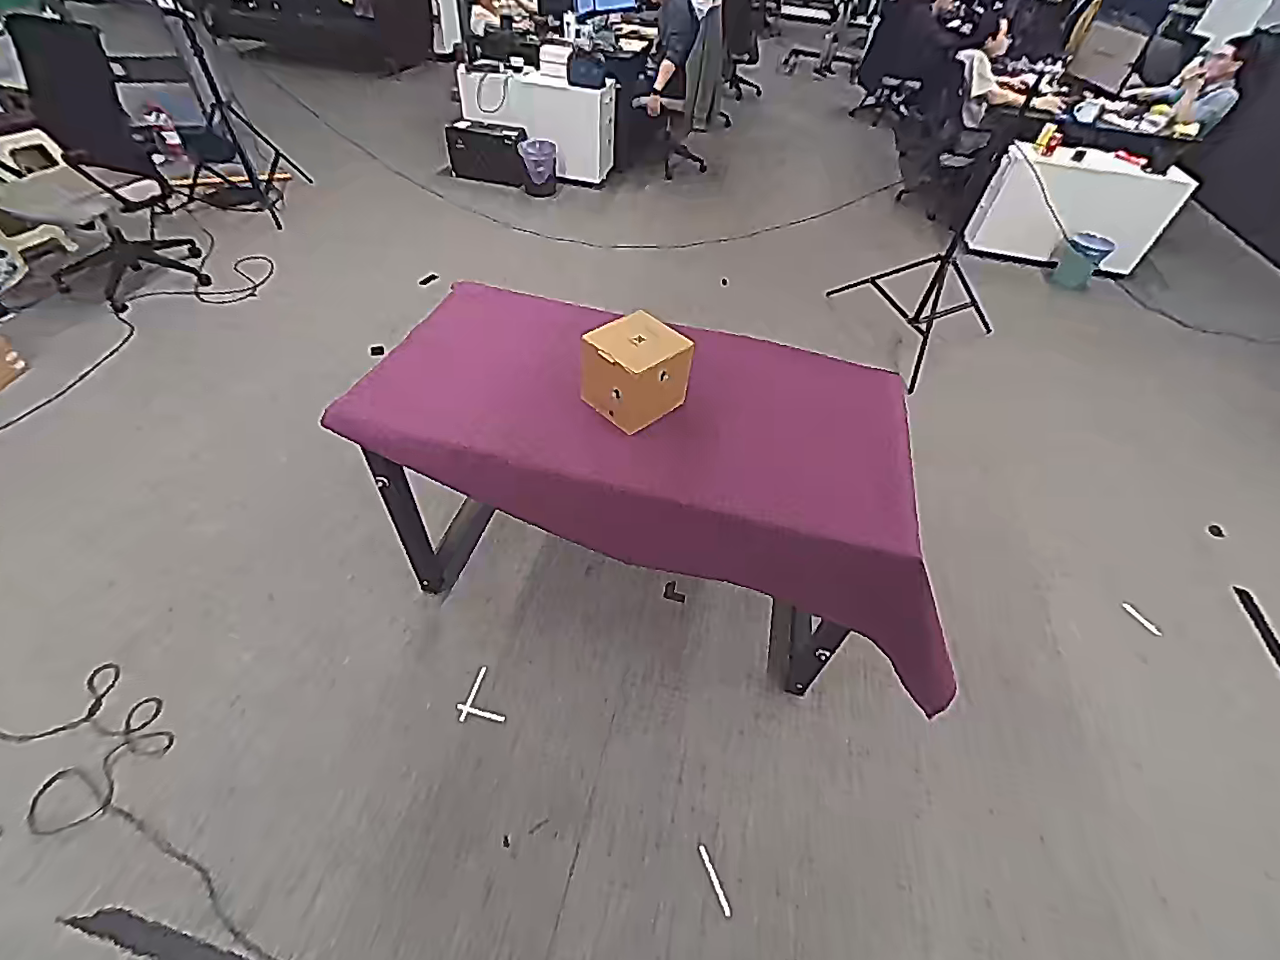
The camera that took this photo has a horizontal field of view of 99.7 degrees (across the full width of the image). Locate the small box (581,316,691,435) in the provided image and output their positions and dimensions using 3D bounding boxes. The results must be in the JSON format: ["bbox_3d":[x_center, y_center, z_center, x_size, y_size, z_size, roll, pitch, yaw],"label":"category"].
[{"bbox_3d":[-0.011,-0.227,1.184,0.179,0.176,0.168,-34,59,-31],"label":"small box"}]
